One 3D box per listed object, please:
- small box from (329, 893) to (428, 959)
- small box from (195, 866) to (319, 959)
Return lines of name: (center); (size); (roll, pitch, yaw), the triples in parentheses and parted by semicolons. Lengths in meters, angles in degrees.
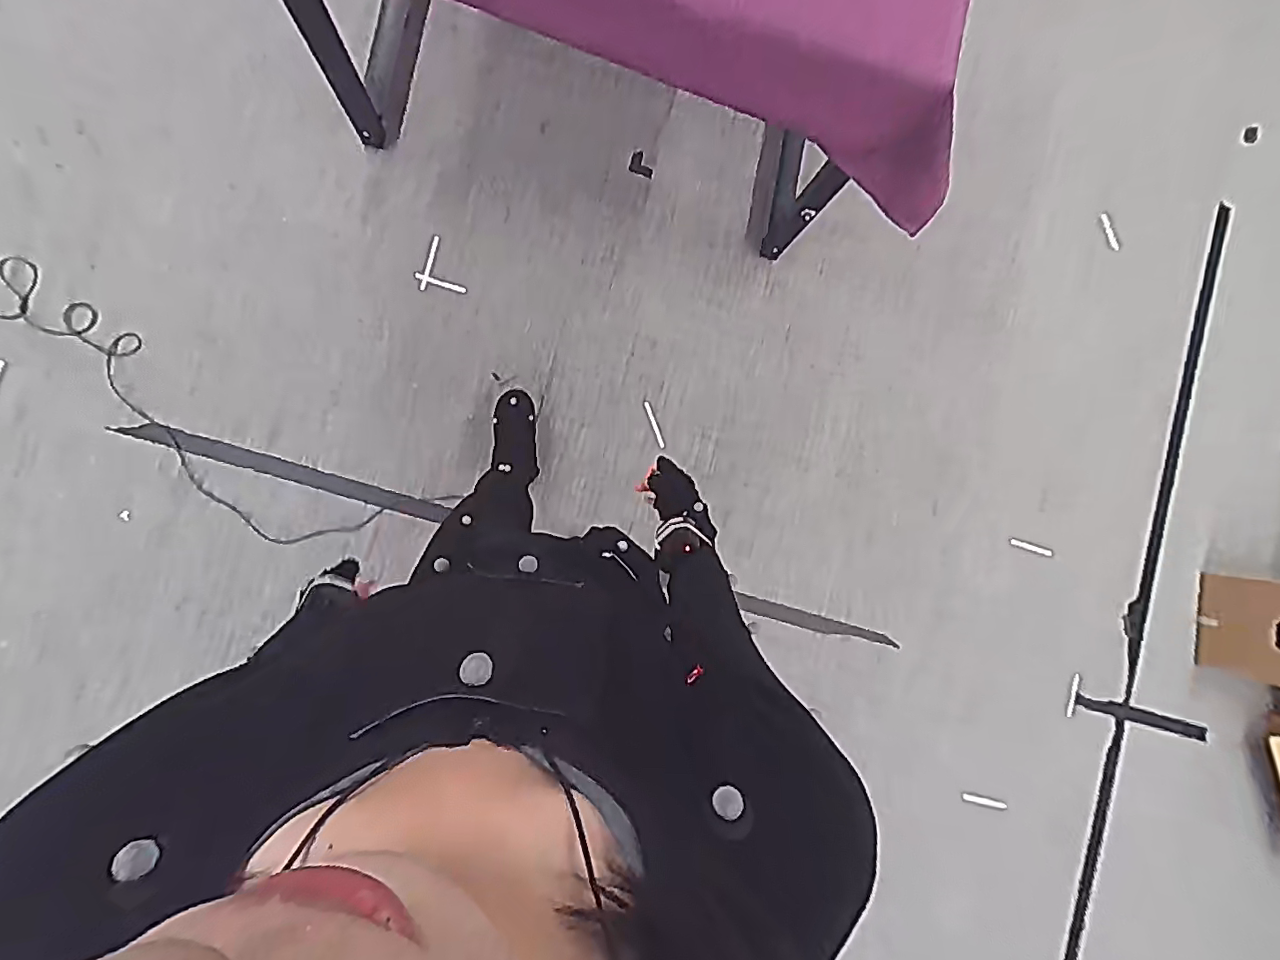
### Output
small box: (-0.632, 1.132, 1.281); (0.179, 0.176, 0.168); (21, 85, -7)
small box: (-0.880, 1.036, 1.248); (0.179, 0.176, 0.168); (19, 84, -10)
